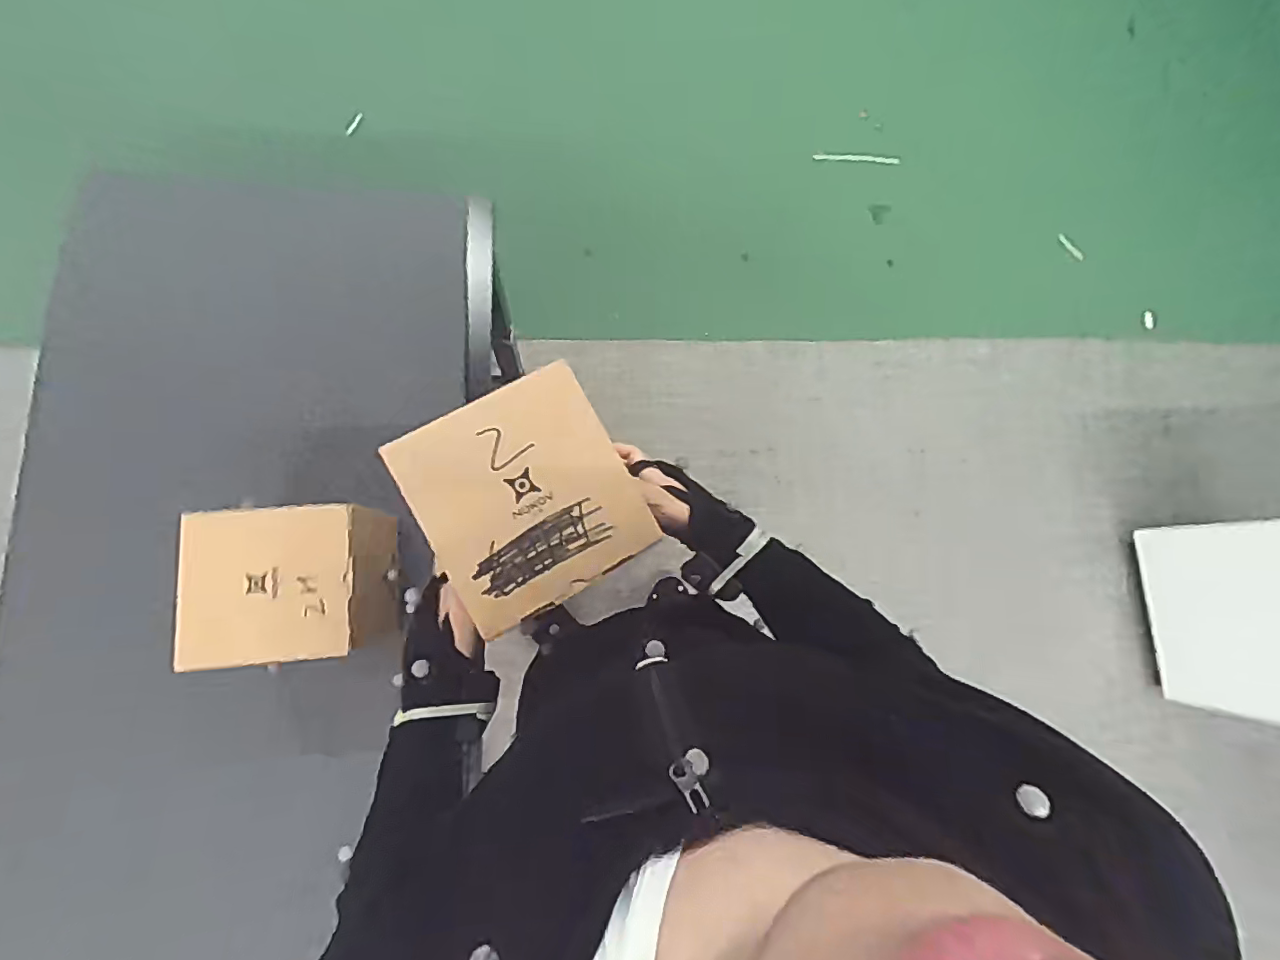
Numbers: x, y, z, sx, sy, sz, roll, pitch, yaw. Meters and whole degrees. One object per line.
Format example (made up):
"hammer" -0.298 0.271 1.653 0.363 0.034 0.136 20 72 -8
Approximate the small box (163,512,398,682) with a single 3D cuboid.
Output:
"small box" -0.407 0.133 0.643 0.179 0.176 0.168 -4 81 -7
